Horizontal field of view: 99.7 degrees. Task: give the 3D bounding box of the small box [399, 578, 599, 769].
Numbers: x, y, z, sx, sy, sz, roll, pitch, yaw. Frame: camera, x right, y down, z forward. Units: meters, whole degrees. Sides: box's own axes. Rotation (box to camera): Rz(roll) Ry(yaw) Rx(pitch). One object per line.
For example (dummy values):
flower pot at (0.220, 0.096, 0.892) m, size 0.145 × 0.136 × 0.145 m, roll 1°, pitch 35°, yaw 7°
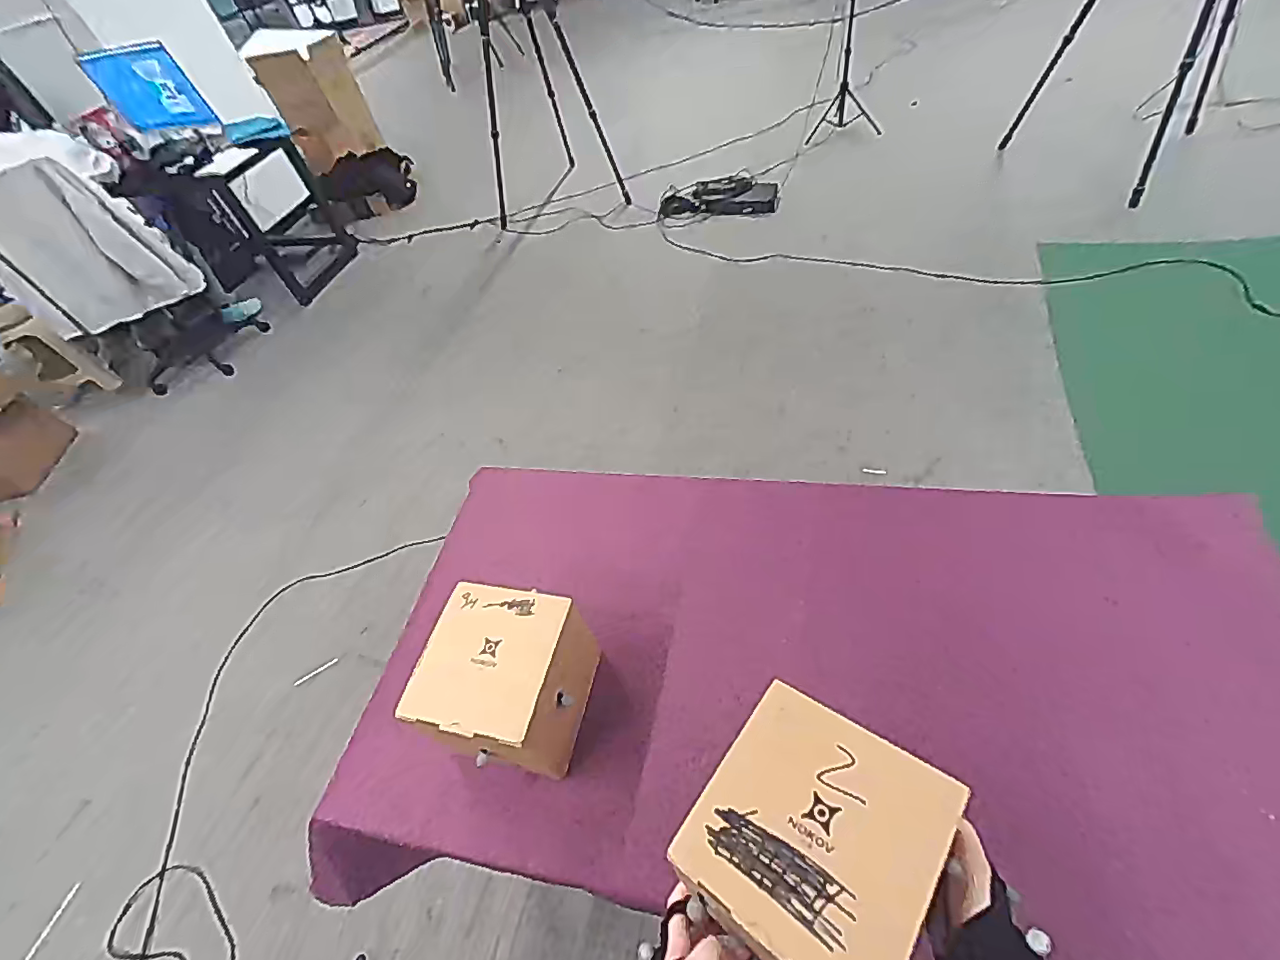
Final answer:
small box at (-0.165, 0.253, 0.702) m, size 0.168 × 0.176 × 0.179 m, roll 7°, pitch 54°, yaw 16°
